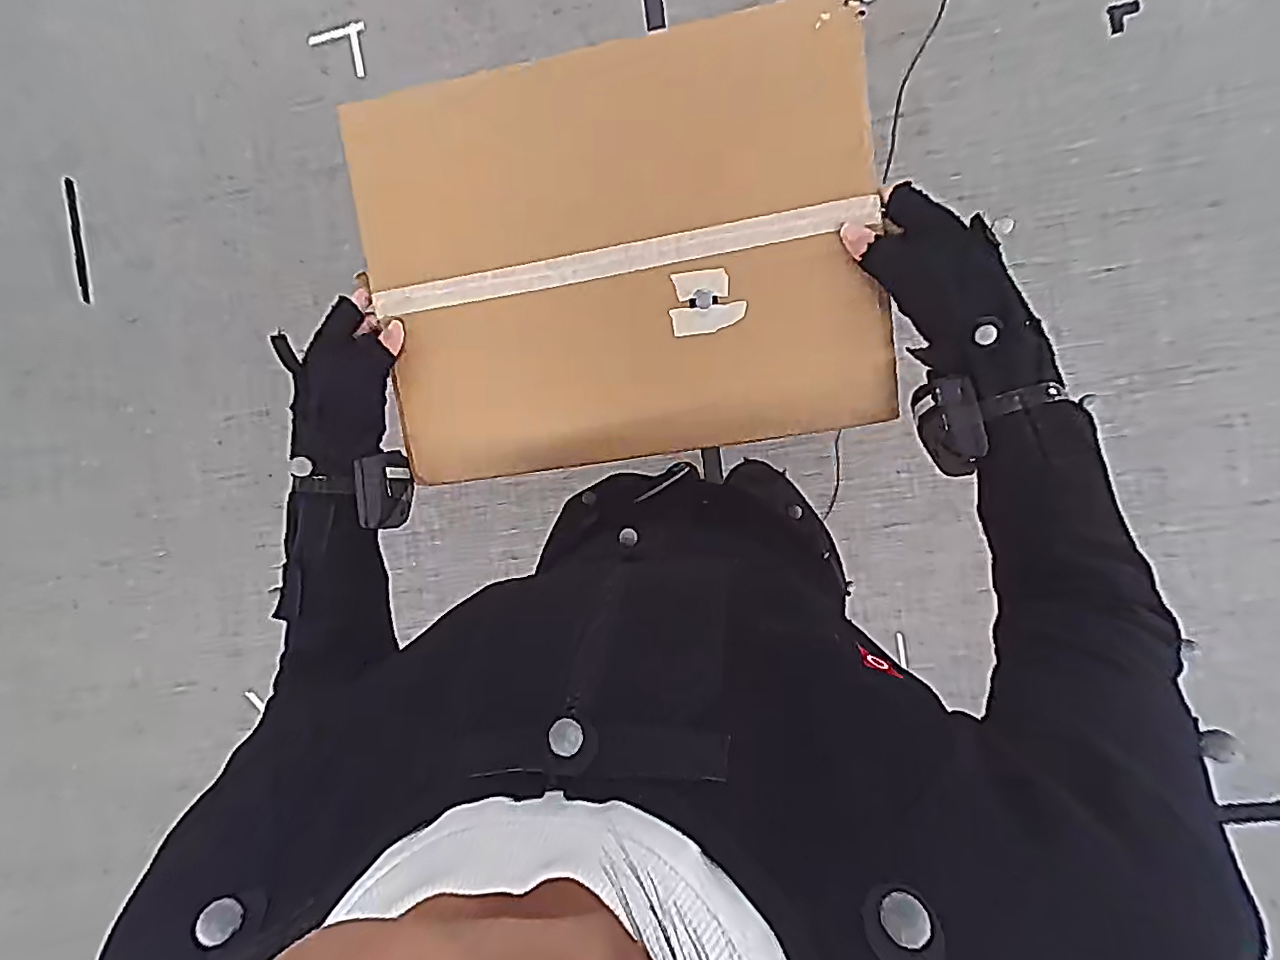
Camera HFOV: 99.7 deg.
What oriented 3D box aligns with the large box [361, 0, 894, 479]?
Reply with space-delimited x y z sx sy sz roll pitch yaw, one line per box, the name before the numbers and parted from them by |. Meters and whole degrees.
large box | -0.001 -0.199 0.586 0.408 0.320 0.320 -8 97 7
